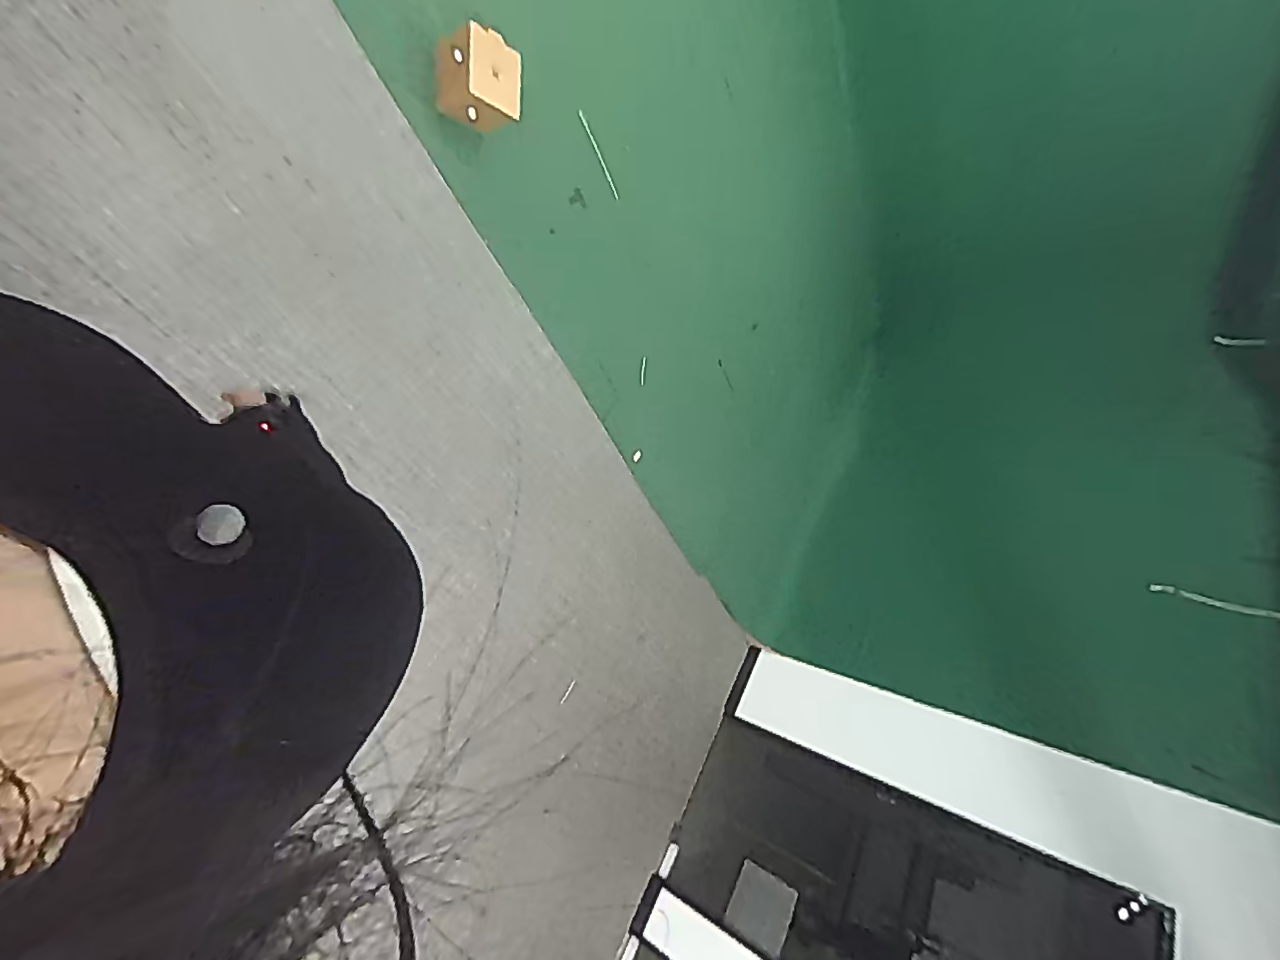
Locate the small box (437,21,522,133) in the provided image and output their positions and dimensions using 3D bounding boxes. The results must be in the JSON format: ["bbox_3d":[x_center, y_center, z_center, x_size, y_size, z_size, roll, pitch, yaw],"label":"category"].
[{"bbox_3d":[-0.451,-1.112,1.512,0.168,0.176,0.179,-5,101,-50],"label":"small box"}]
